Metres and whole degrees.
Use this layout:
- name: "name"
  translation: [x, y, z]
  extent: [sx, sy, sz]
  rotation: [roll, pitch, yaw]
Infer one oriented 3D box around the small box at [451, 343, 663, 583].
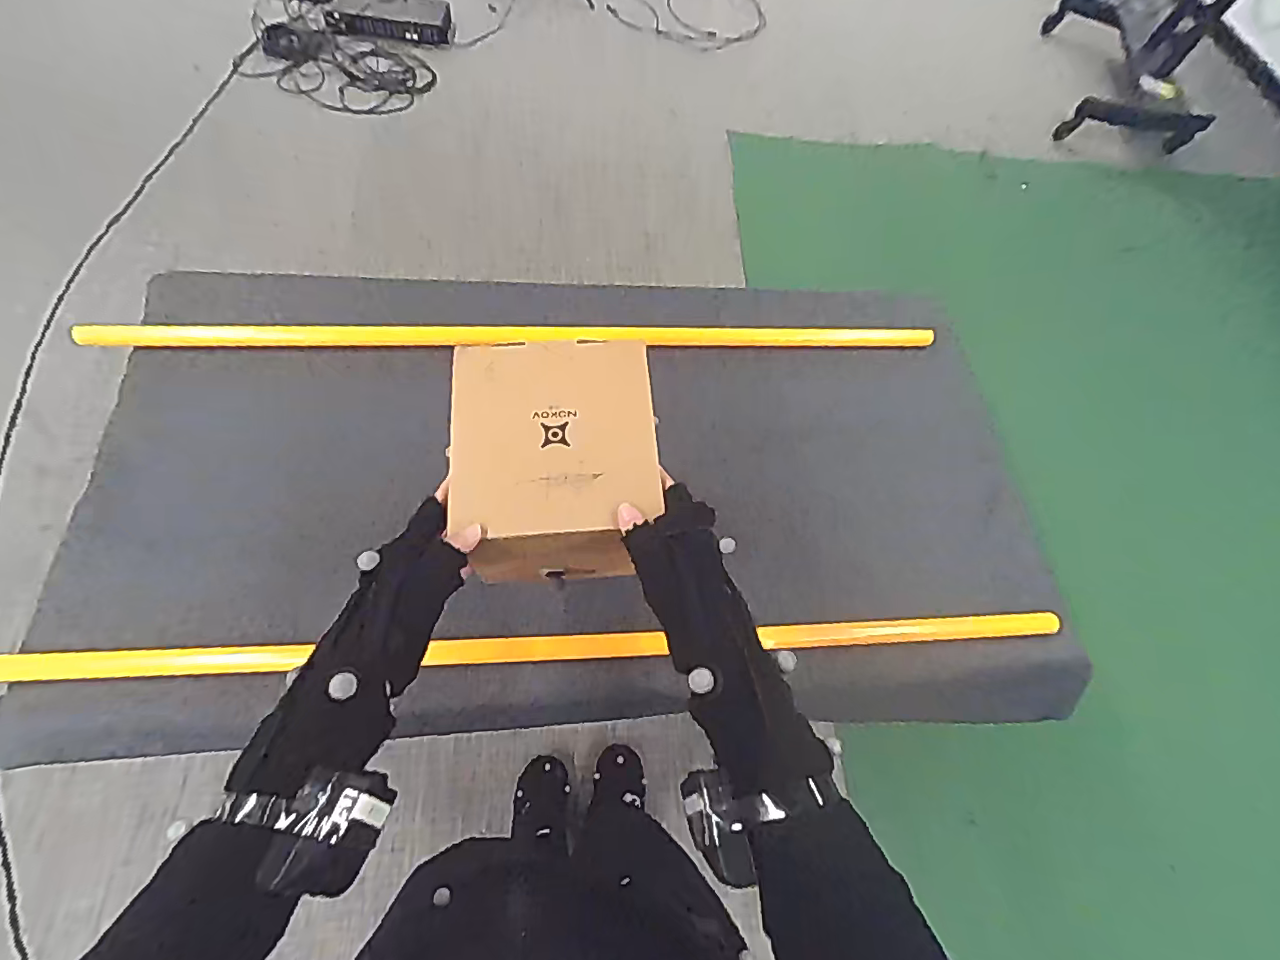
- name: "small box"
  translation: [-0.077, -0.009, 0.520]
  extent: [0.168, 0.176, 0.179]
  rotation: [-4, 69, -6]
